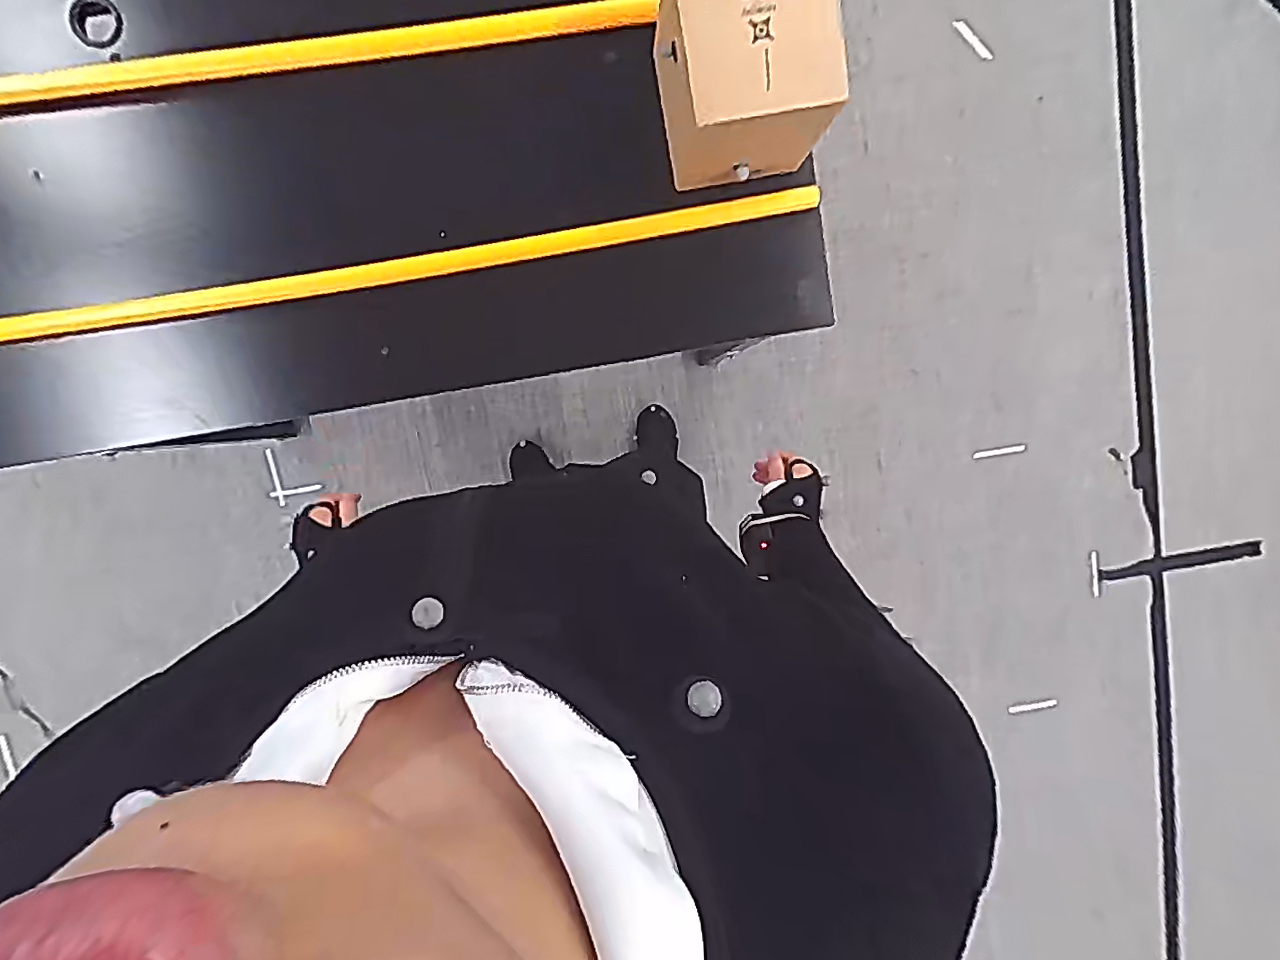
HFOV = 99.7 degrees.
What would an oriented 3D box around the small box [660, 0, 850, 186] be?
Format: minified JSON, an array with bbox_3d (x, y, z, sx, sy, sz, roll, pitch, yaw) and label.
[{"bbox_3d":[0.121,-0.477,0.629,0.168,0.176,0.179,-10,98,-2],"label":"small box"}]
